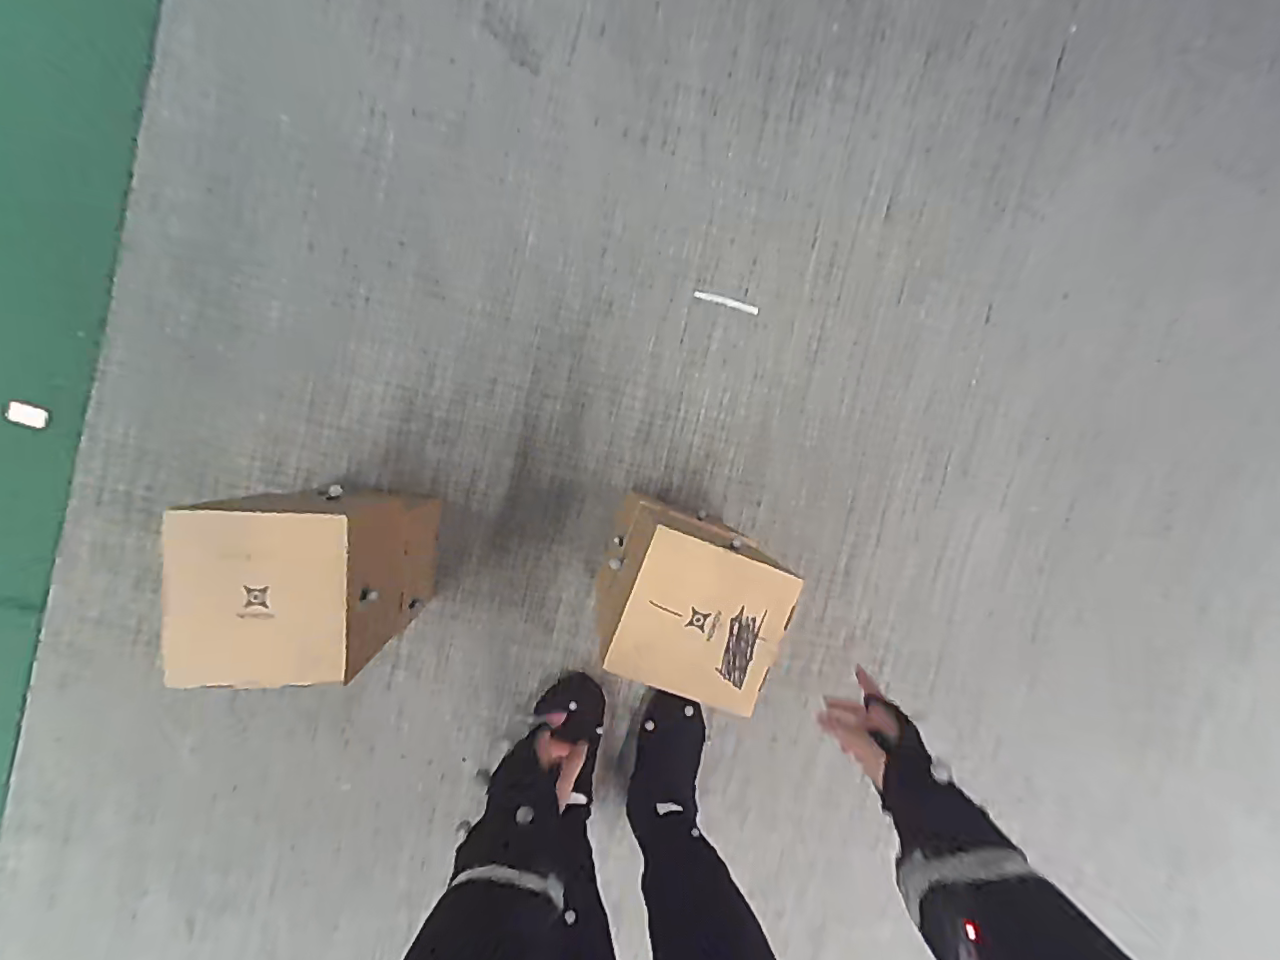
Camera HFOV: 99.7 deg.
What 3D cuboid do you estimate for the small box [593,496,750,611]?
[{"bbox_3d":[0.037,0.130,0.822,0.179,0.176,0.168,20,91,-8],"label":"small box"}]

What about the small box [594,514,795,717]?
[{"bbox_3d":[0.053,0.150,0.658,0.179,0.176,0.168,21,92,-6],"label":"small box"}]

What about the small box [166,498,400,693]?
[{"bbox_3d":[-0.381,0.118,0.607,0.168,0.176,0.179,2,93,-7],"label":"small box"}]
